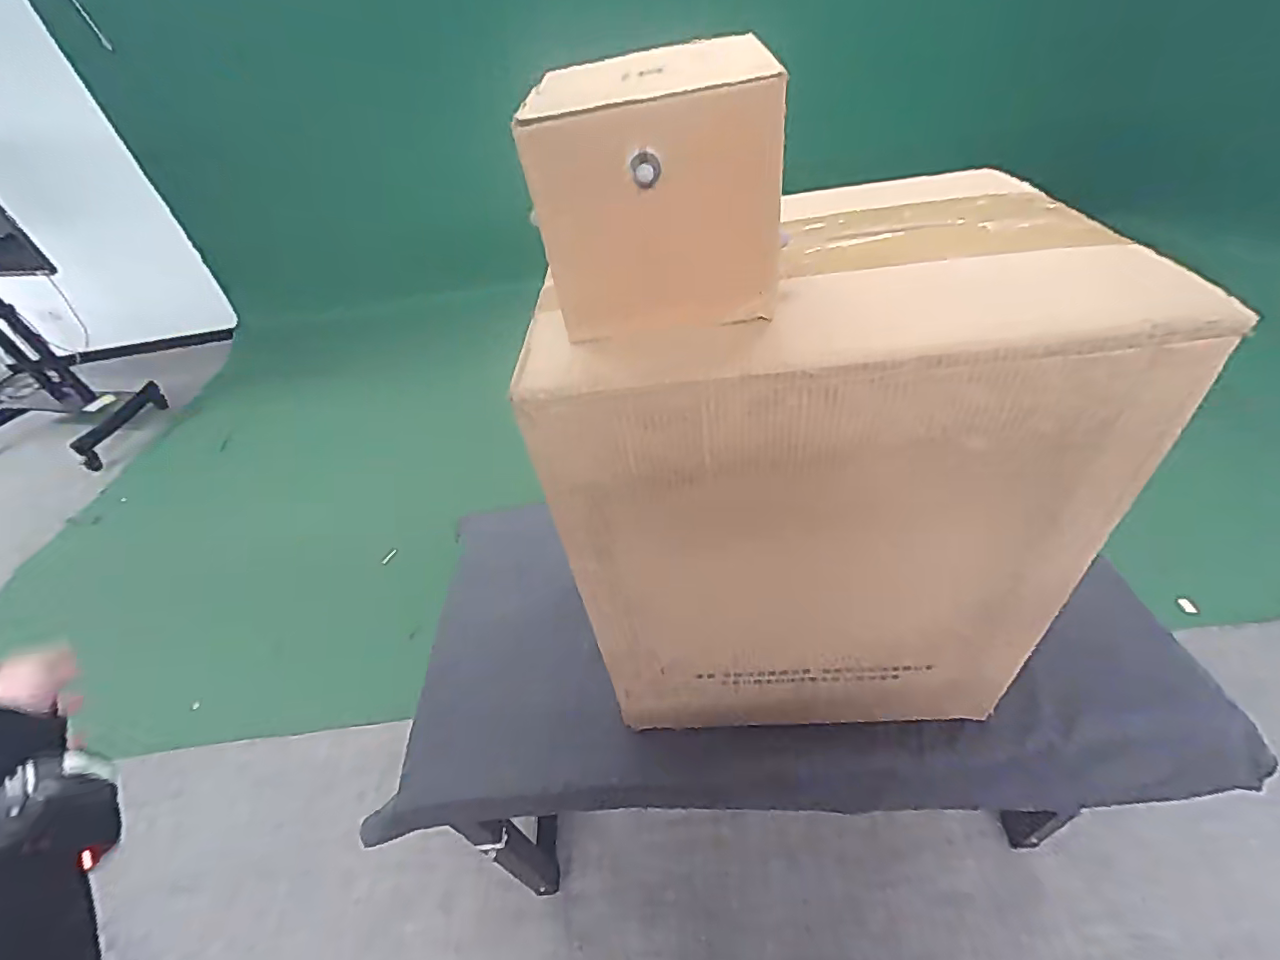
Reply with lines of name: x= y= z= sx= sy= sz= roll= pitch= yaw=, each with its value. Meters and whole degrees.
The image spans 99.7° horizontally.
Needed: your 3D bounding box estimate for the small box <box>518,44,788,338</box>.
small box: x=0.018 y=-0.233 z=0.450 sx=0.179 sy=0.176 sz=0.168 roll=-4 pitch=46 yaw=5
